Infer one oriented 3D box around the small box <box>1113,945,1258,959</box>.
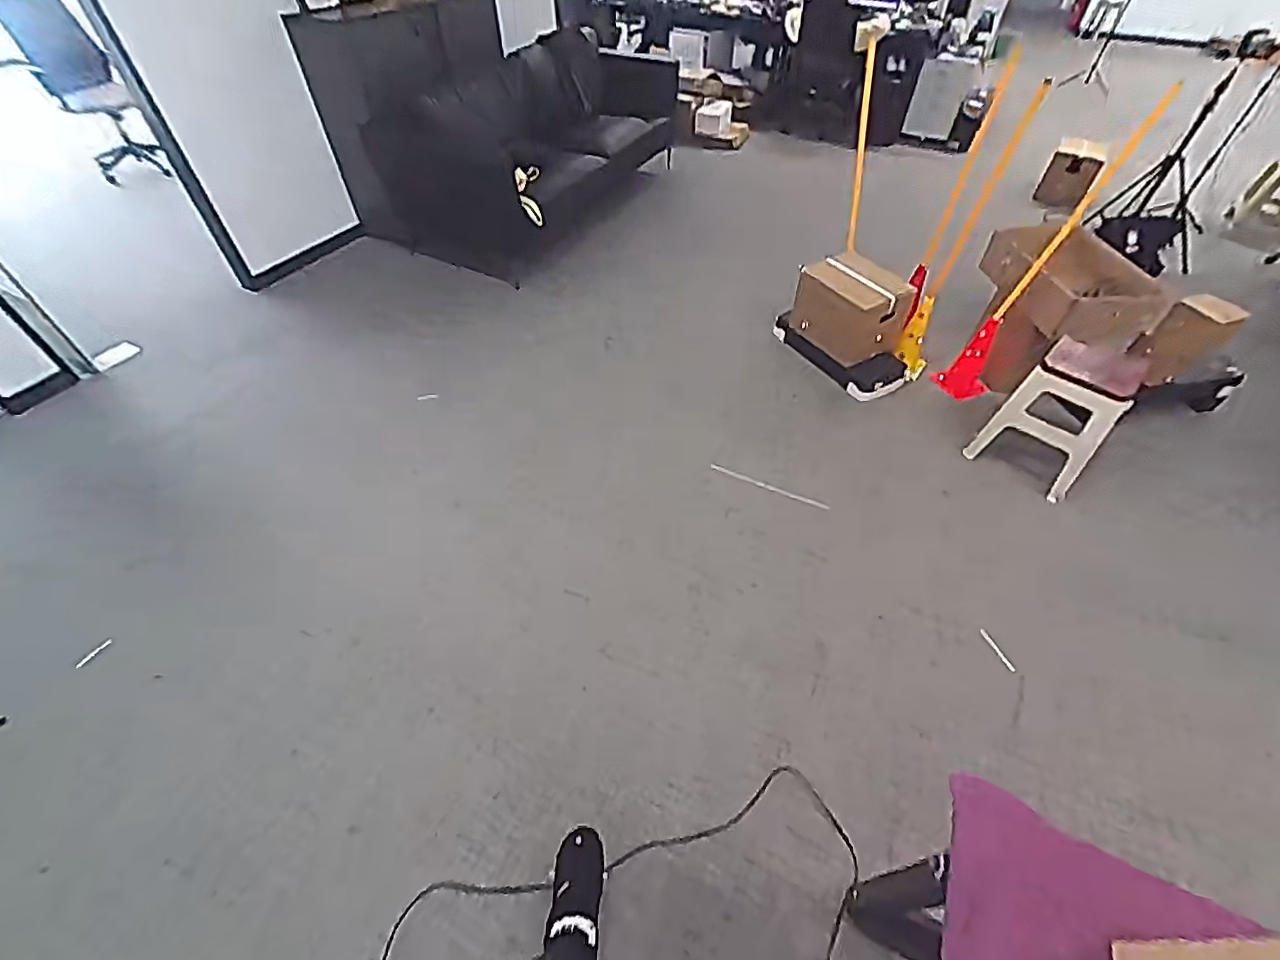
[{"bbox_3d":[0.630,0.606,0.539,0.179,0.176,0.168,19,50,16],"label":"small box"}]
